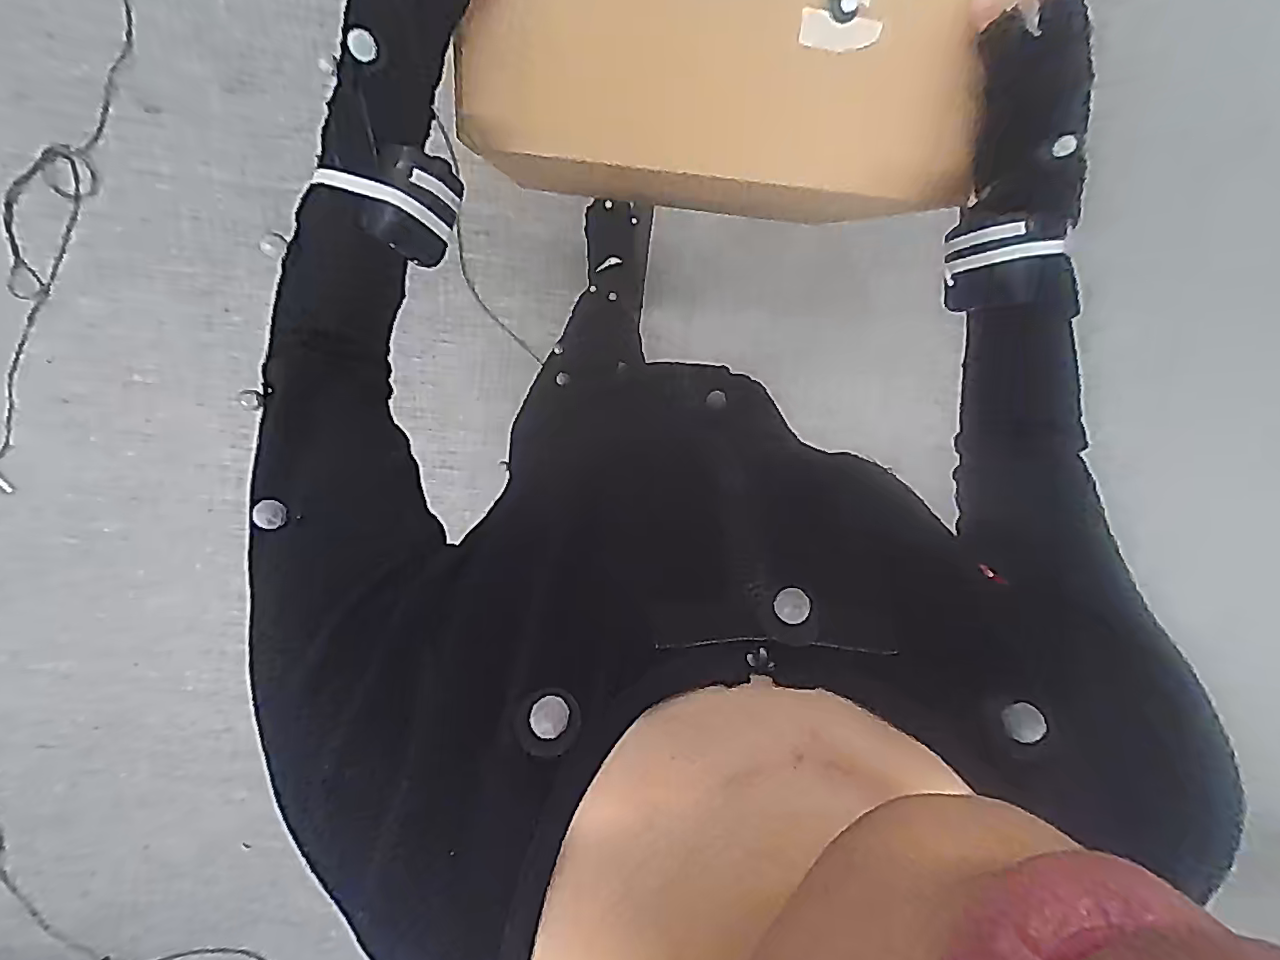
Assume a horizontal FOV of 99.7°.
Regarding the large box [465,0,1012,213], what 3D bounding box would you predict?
[{"bbox_3d":[0.067,-0.446,0.505,0.408,0.320,0.320,3,113,-6],"label":"large box"}]
